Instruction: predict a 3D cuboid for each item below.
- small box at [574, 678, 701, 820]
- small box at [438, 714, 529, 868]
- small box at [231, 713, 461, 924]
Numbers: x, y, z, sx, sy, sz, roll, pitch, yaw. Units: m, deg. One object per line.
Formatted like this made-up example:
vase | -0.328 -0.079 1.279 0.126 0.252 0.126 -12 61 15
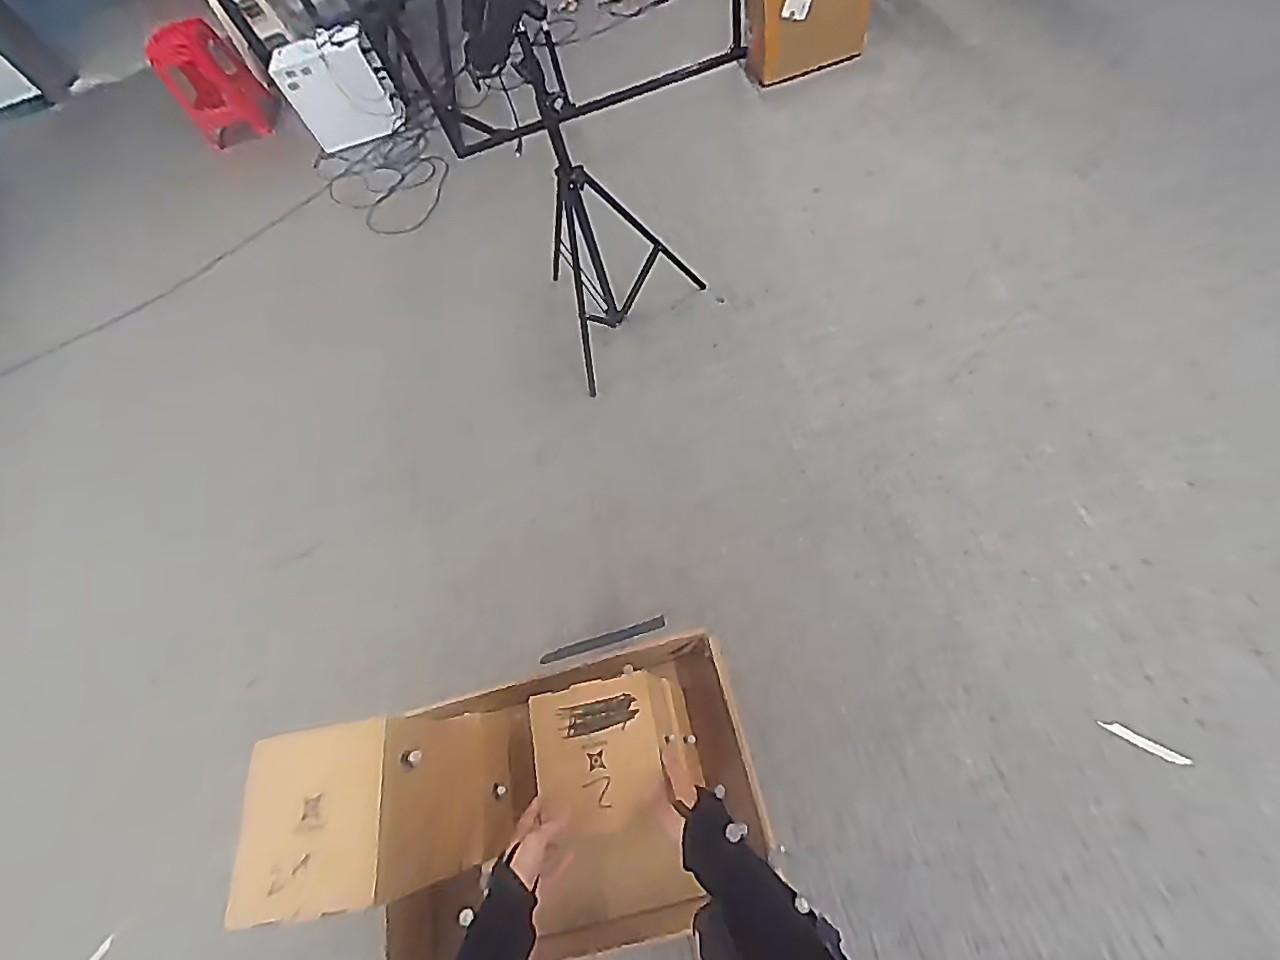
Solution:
small box | -0.001 0.451 0.915 0.168 0.176 0.179 -16 63 5
small box | -0.269 0.450 0.786 0.168 0.176 0.179 -13 62 5
small box | -0.328 0.387 0.643 0.168 0.176 0.179 -12 63 6
